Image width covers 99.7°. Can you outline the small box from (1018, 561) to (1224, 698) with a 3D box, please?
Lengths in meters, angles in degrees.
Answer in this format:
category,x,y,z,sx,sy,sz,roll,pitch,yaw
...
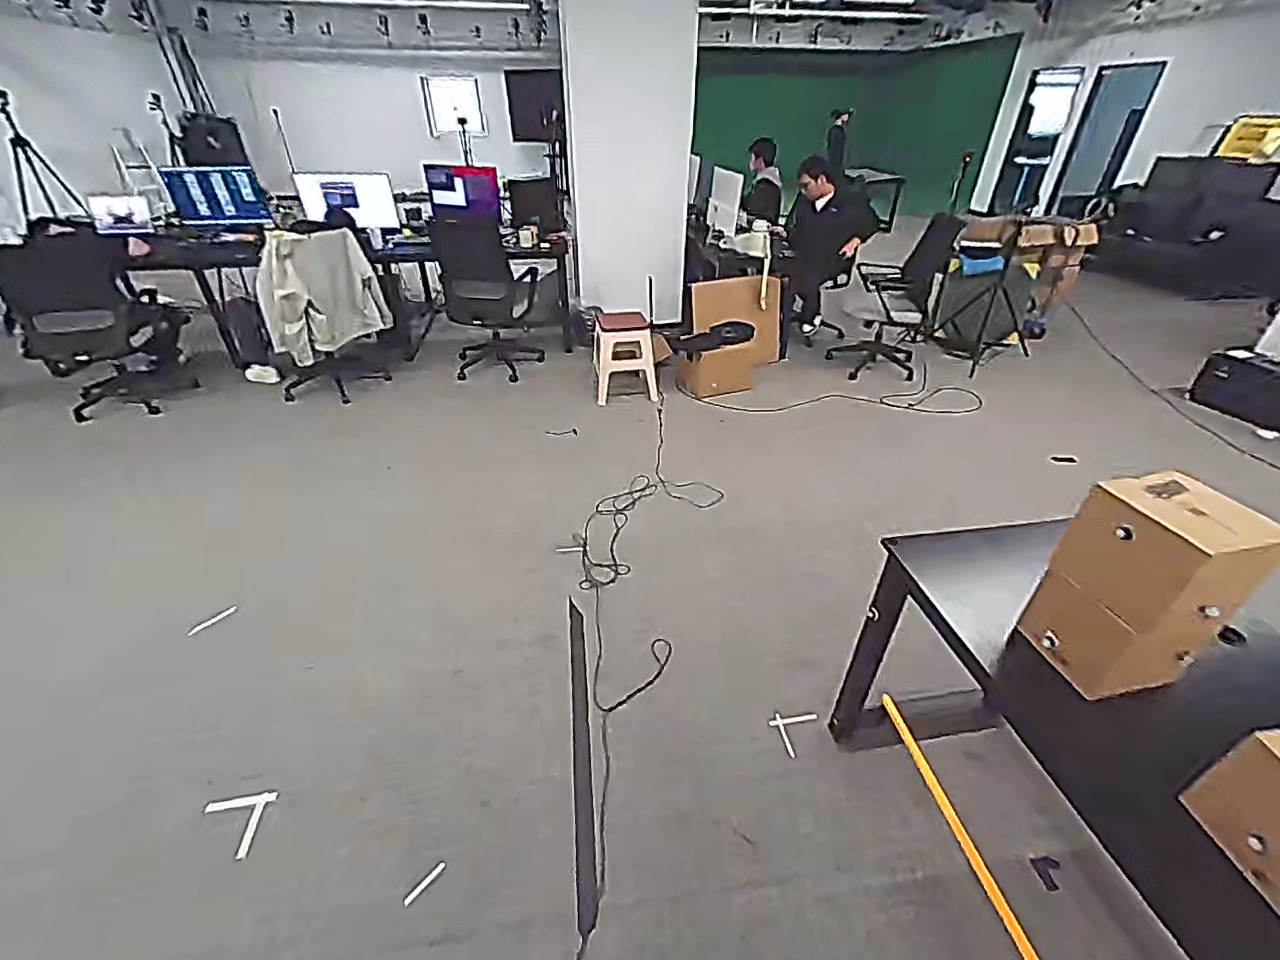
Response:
category,x,y,z,sx,sy,sz,roll,pitch,yaw
small box,0.809,0.245,0.933,0.179,0.176,0.168,-8,34,-10

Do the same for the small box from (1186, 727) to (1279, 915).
category,x,y,z,sx,sy,sz,roll,pitch,yaw
small box,0.861,0.425,0.668,0.179,0.176,0.168,-2,34,-4

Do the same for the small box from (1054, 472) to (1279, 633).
category,x,y,z,sx,sy,sz,roll,pitch,yaw
small box,0.806,0.109,0.841,0.168,0.176,0.179,-7,35,-11
